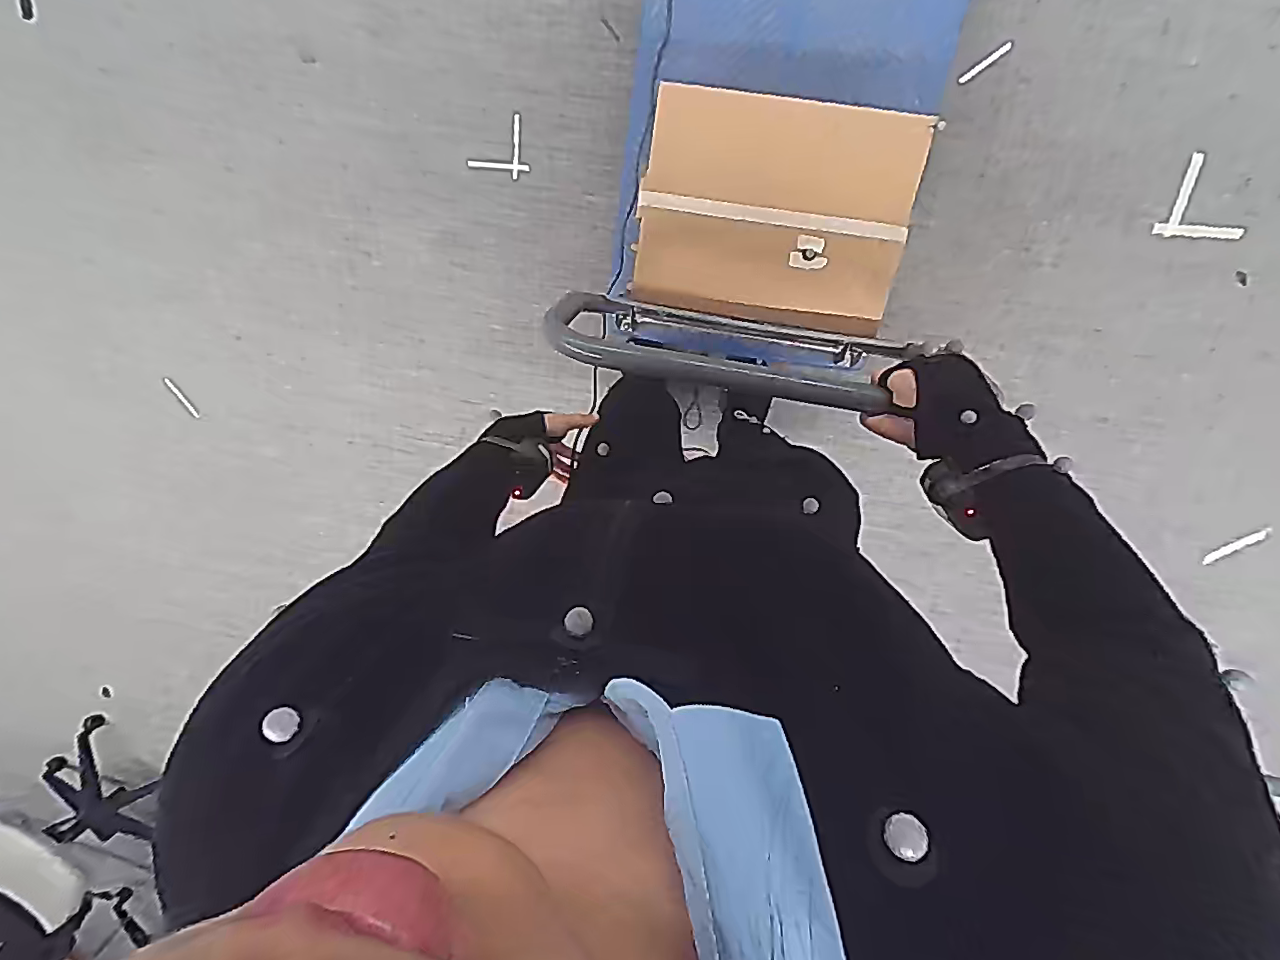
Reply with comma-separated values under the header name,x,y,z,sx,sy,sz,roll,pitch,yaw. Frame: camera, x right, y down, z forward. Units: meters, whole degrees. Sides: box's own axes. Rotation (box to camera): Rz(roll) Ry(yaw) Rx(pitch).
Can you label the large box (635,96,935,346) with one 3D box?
name,x,y,z,sx,sy,sz,roll,pitch,yaw
large box,0.219,-0.433,0.966,0.408,0.320,0.320,10,110,3
